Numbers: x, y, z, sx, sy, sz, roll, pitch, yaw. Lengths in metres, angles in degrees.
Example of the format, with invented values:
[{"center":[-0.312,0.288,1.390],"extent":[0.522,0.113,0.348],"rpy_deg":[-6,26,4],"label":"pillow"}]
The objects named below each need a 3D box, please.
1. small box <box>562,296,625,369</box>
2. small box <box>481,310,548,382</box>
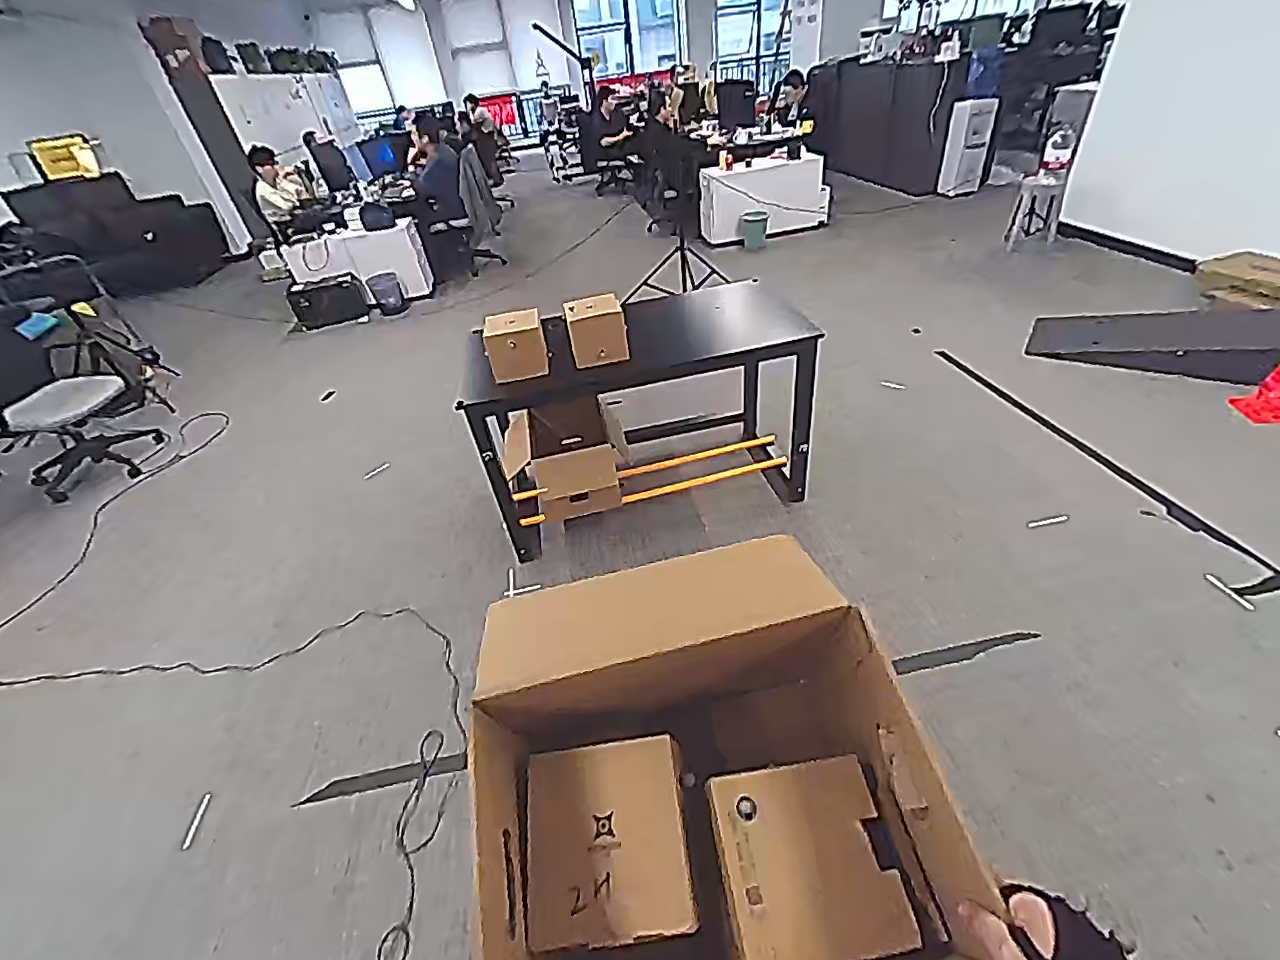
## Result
[{"center":[-0.151,-0.488,1.788],"extent":[0.179,0.176,0.168],"rpy_deg":[-12,38,-6],"label":"small box"},{"center":[-0.409,-0.435,1.770],"extent":[0.179,0.176,0.168],"rpy_deg":[-11,39,-5],"label":"small box"}]
